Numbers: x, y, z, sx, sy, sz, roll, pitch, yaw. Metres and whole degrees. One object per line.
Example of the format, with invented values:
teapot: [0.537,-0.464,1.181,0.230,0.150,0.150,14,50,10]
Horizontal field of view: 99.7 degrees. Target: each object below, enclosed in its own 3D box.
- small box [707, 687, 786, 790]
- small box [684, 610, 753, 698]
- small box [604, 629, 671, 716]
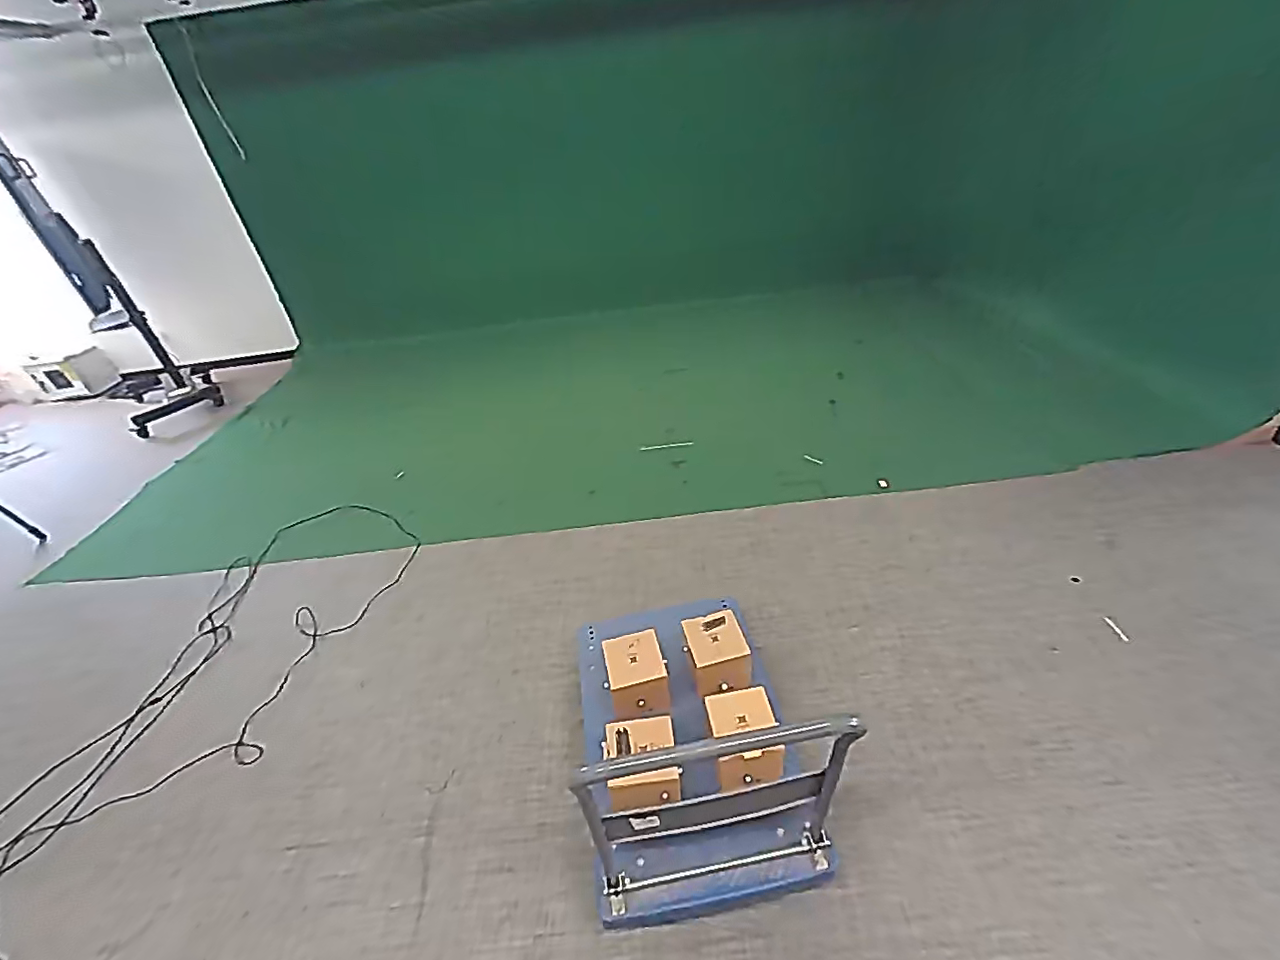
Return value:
small box: [0.276,0.688,1.441,0.168,0.176,0.179,-9,36,-2]
small box: [0.237,0.533,1.659,0.168,0.176,0.179,-13,37,-5]
small box: [-0.007,0.586,1.632,0.168,0.176,0.179,-11,36,-6]
